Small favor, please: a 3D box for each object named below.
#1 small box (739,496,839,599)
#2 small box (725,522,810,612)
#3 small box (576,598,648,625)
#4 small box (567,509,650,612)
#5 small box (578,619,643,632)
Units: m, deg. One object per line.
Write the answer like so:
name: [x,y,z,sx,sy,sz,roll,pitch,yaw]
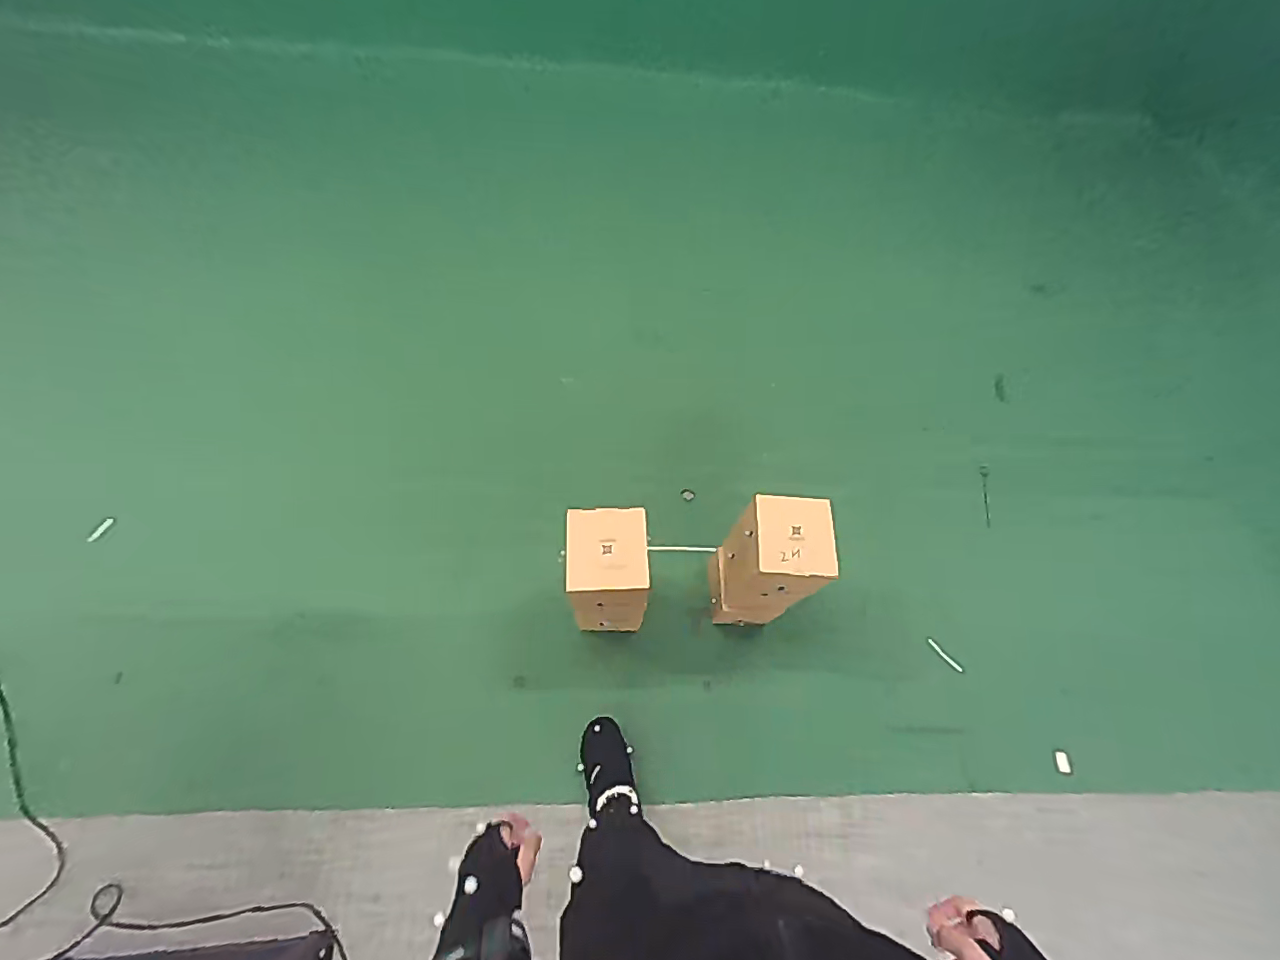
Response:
small box: [0.320,0.153,1.197,0.168,0.176,0.179,5,65,-3]
small box: [0.309,0.220,1.348,0.168,0.176,0.179,5,64,-3]
small box: [-0.072,0.244,1.306,0.168,0.176,0.179,-1,65,-4]
small box: [-0.069,0.175,1.159,0.168,0.176,0.179,-1,64,-4]
small box: [-0.076,0.309,1.457,0.168,0.176,0.179,2,64,-3]
